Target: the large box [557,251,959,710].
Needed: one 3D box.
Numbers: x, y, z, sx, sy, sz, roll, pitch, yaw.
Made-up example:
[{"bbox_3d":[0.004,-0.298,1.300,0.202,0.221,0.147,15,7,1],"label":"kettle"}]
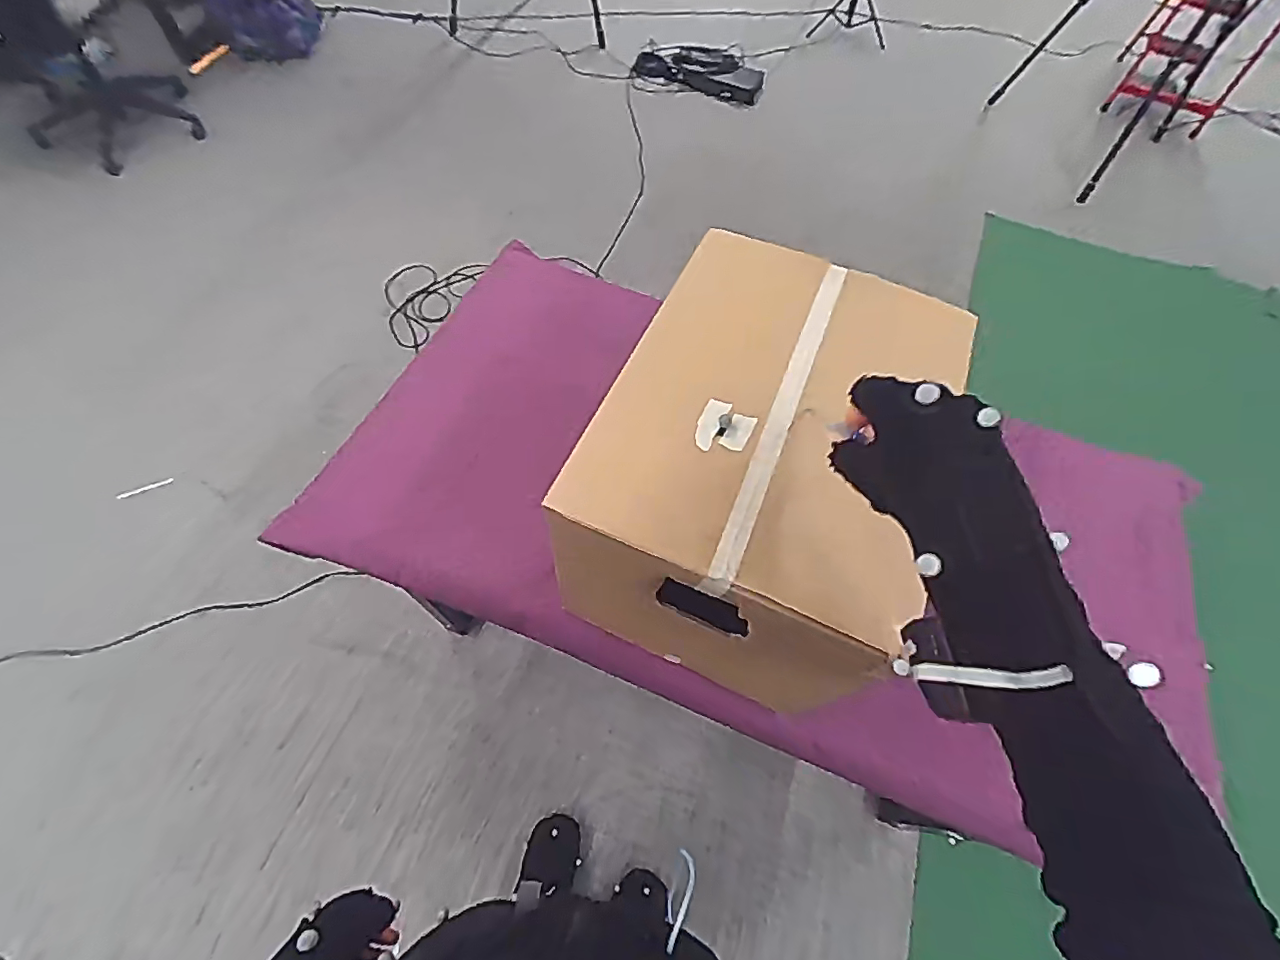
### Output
[{"bbox_3d":[0.132,0.009,0.666,0.320,0.320,0.408,23,62,9],"label":"large box"}]
